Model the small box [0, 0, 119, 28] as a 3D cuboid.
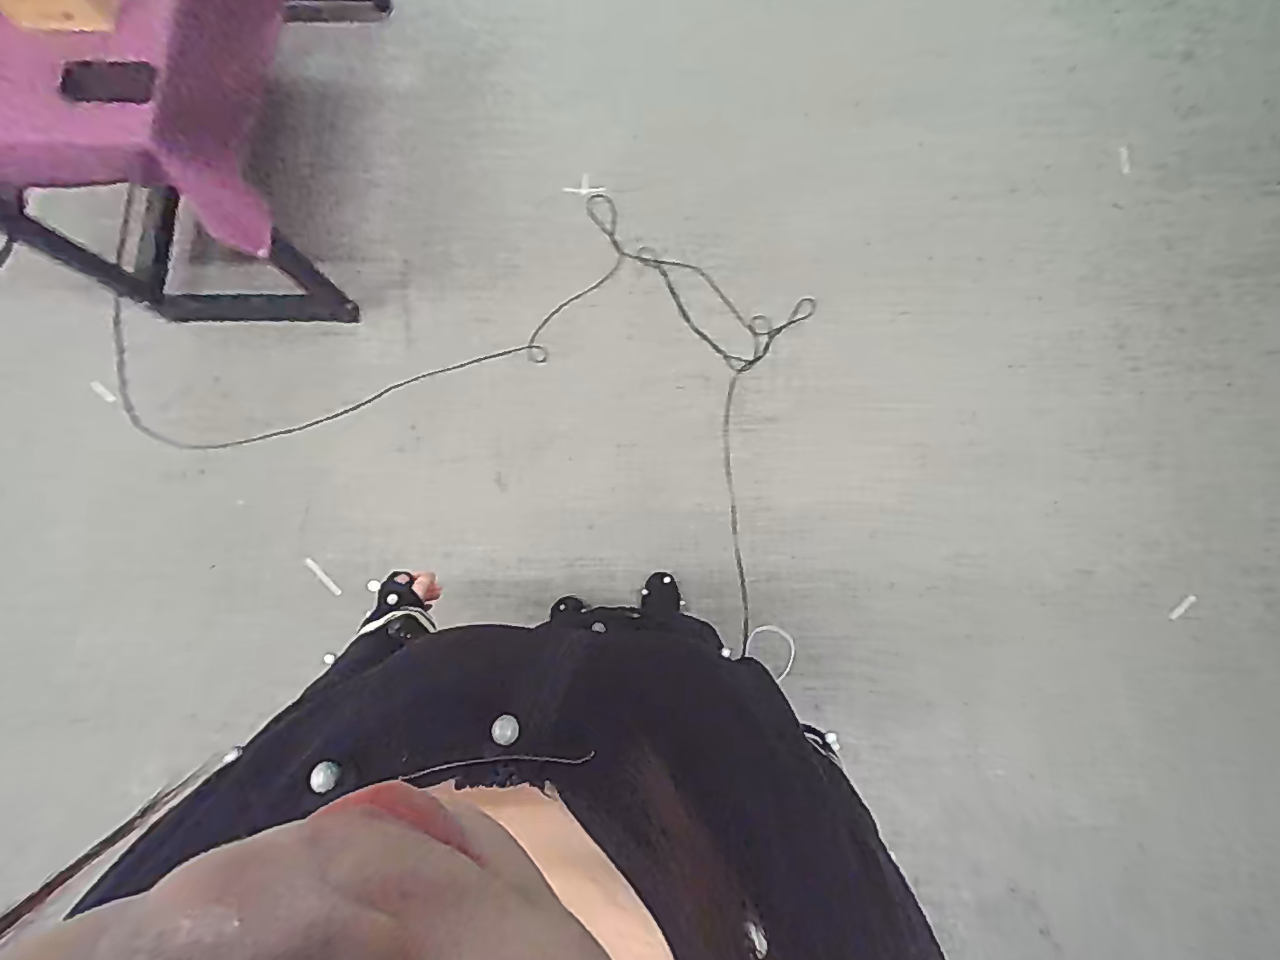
[{"bbox_3d":[-1.002,-0.891,0.887,0.168,0.176,0.179,2,80,0],"label":"small box"}]
